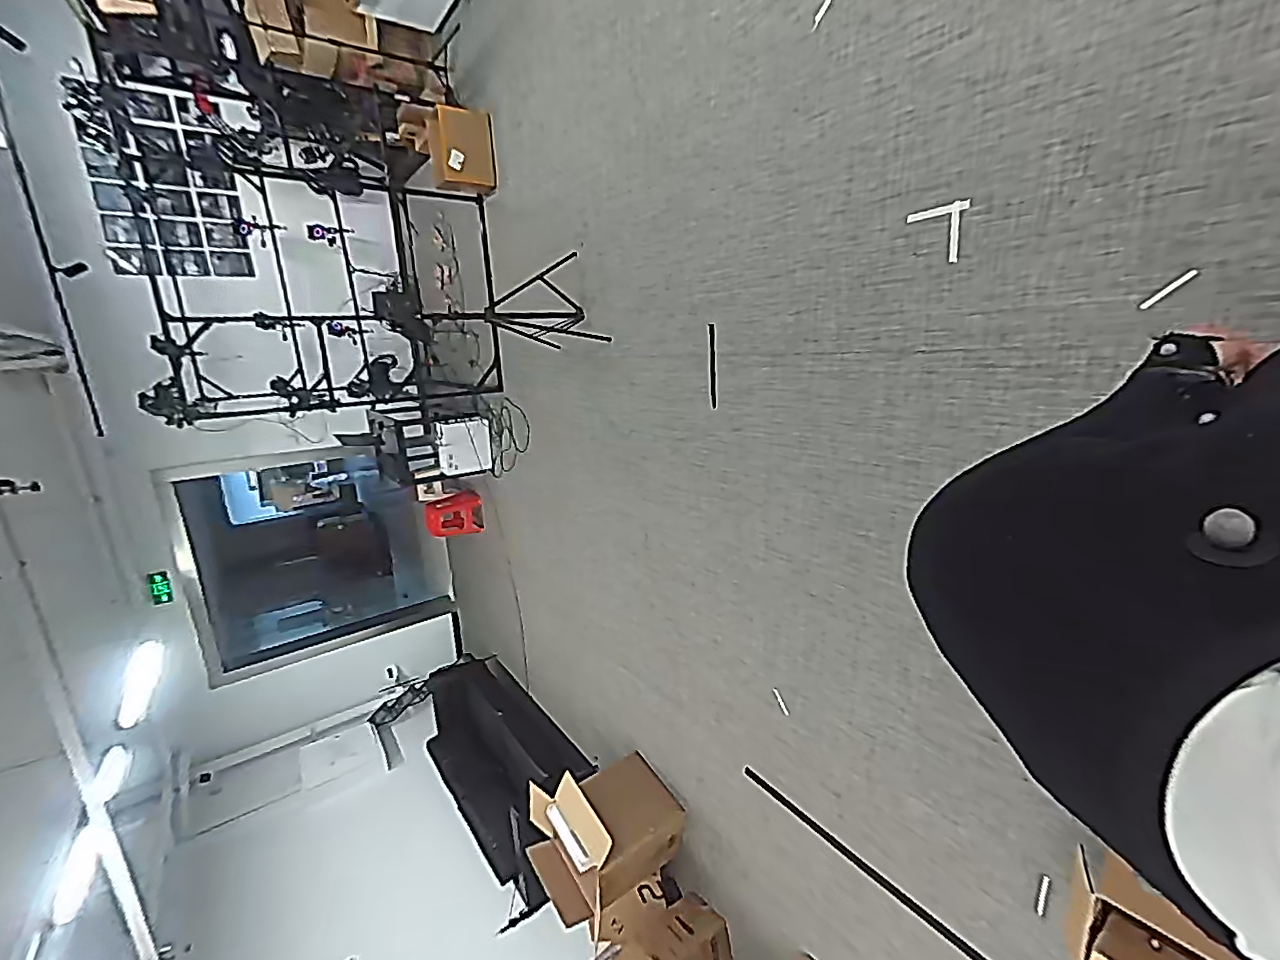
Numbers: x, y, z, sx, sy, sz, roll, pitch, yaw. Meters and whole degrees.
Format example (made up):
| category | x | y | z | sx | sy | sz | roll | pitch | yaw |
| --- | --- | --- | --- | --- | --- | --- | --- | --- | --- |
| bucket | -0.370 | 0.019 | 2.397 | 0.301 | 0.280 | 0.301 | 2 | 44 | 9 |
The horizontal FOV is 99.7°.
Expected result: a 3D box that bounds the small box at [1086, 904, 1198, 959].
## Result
| category | x | y | z | sx | sy | sz | roll | pitch | yaw |
| --- | --- | --- | --- | --- | --- | --- | --- | --- | --- |
| small box | 1.139 | 1.141 | 1.234 | 0.168 | 0.176 | 0.179 | 18 | 116 | 51 |
